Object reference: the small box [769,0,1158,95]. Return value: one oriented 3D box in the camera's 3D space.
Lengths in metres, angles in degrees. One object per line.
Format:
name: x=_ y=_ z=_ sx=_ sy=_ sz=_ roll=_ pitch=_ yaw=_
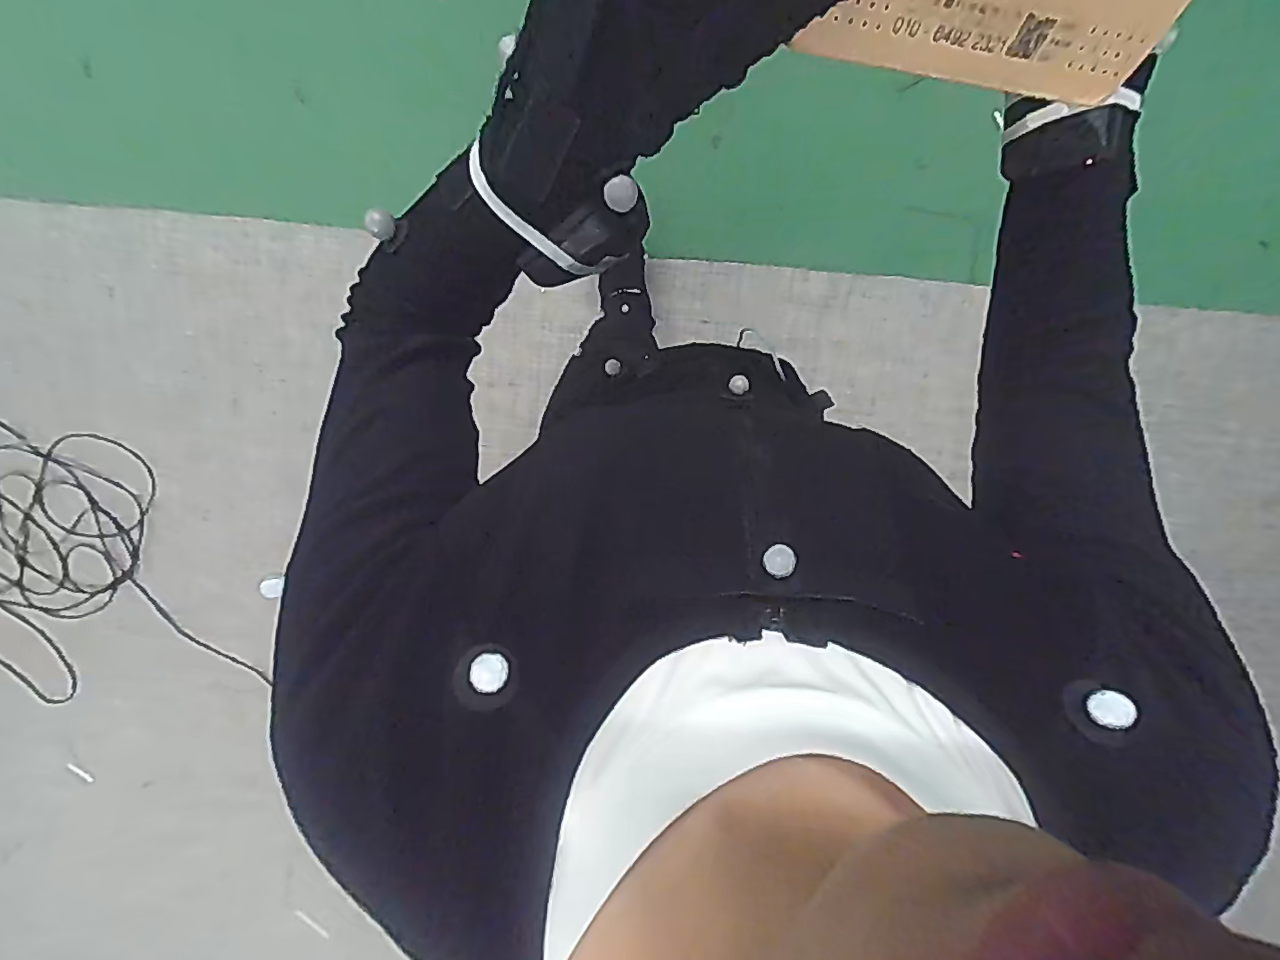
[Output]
small box: x=0.151 y=-0.307 z=0.232 sx=0.168 sy=0.179 sz=0.176 roll=2 pitch=147 yaw=-10
